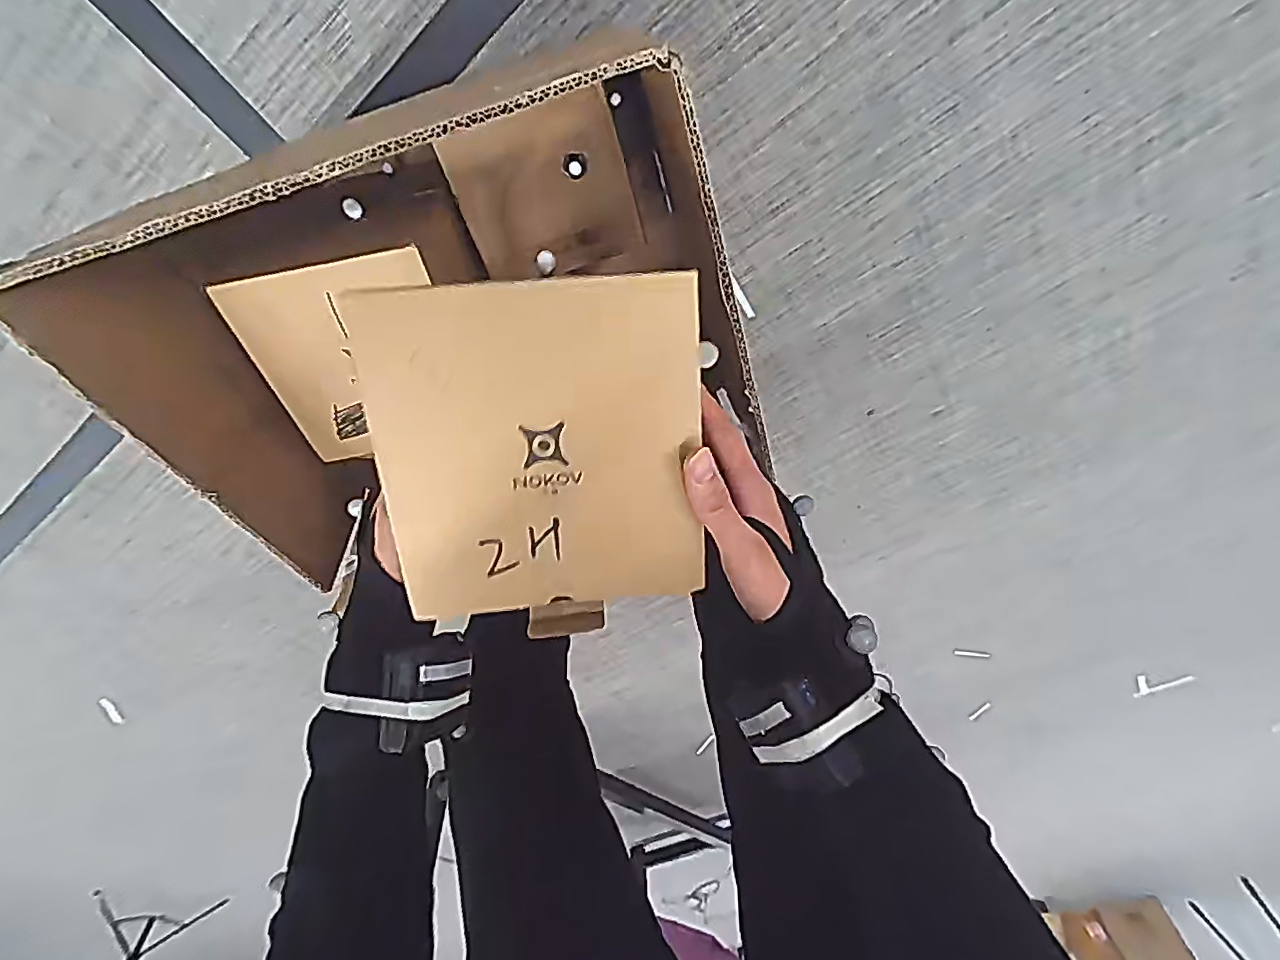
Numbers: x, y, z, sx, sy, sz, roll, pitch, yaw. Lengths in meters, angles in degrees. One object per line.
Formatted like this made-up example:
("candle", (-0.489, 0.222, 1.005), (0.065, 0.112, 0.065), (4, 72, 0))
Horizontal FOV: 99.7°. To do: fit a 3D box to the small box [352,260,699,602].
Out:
("small box", (-0.057, -0.044, 0.356), (0.168, 0.176, 0.179), (-4, 110, -3))
